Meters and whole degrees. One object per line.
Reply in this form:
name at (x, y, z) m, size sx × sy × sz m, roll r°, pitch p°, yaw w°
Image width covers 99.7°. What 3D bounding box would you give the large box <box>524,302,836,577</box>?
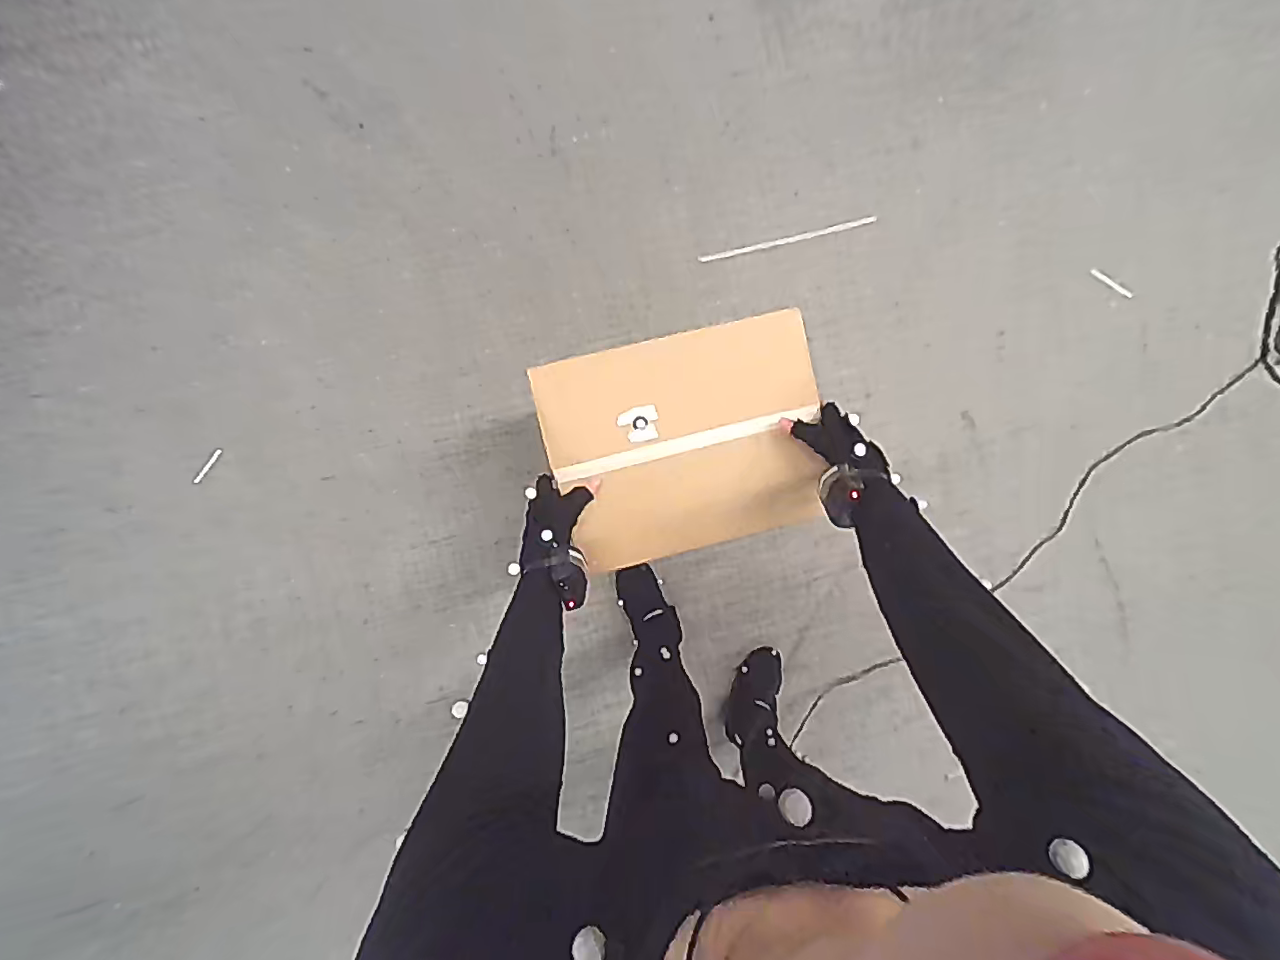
large box at (0.054, -0.075, 0.918) m, size 0.408 × 0.320 × 0.320 m, roll -14°, pitch 97°, yaw -3°
